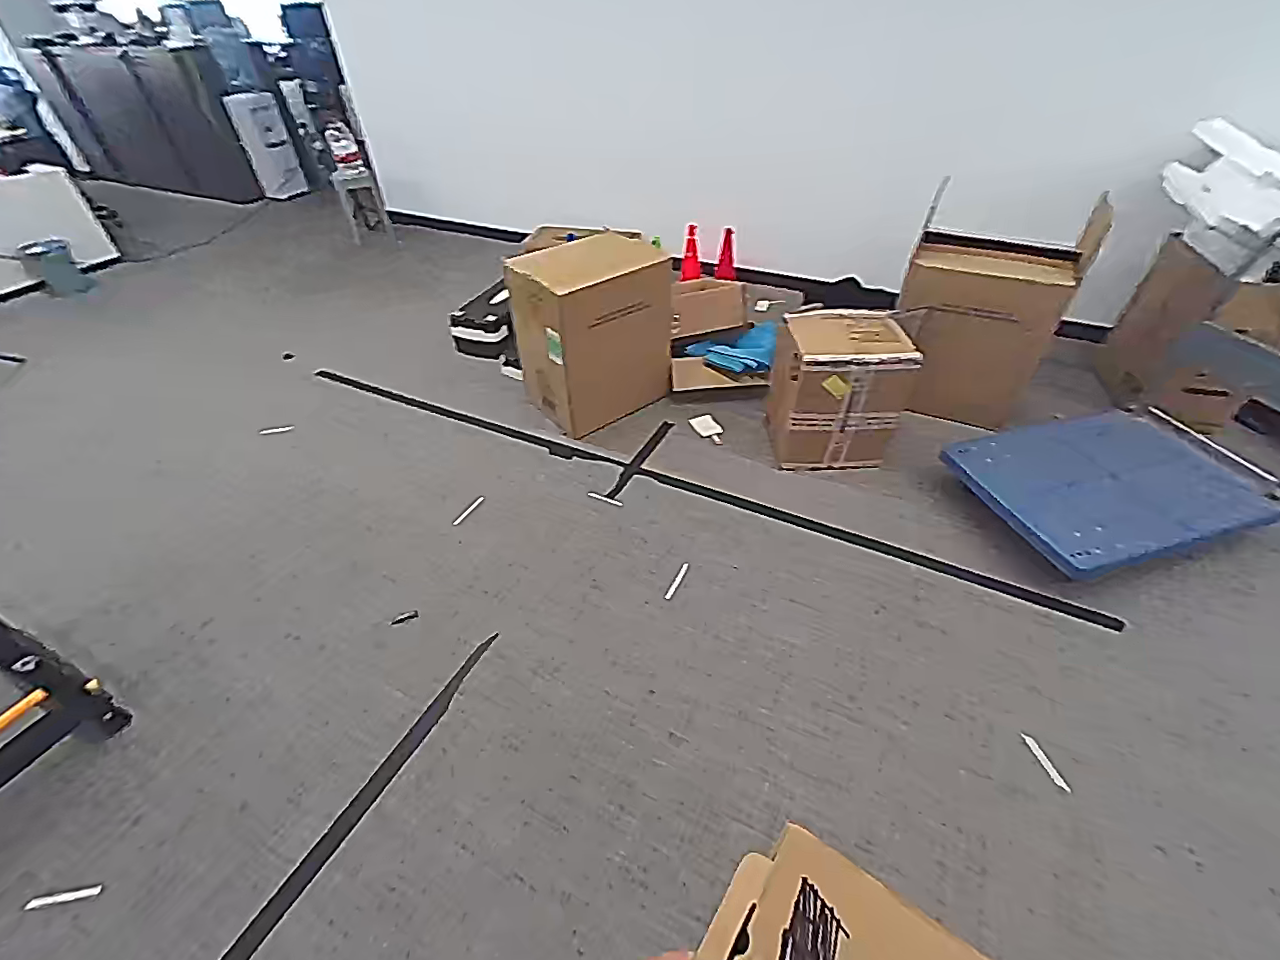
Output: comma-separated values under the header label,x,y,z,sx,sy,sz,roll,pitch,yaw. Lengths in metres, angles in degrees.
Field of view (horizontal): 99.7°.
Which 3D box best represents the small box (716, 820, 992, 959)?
label,x,y,z,sx,sy,sz,roll,pitch,yaw
small box,0.132,0.385,0.369,0.179,0.176,0.168,25,50,25
